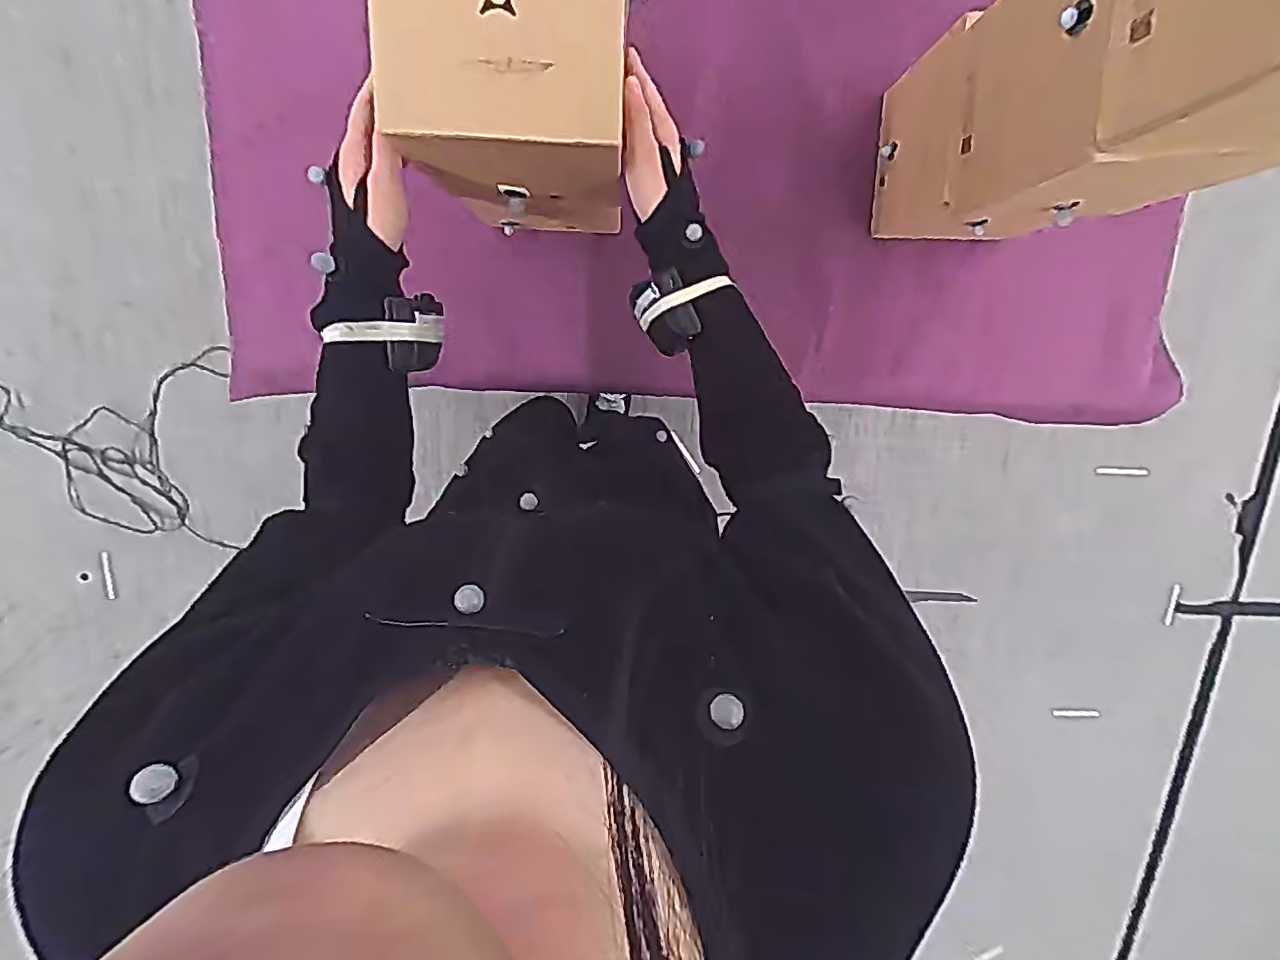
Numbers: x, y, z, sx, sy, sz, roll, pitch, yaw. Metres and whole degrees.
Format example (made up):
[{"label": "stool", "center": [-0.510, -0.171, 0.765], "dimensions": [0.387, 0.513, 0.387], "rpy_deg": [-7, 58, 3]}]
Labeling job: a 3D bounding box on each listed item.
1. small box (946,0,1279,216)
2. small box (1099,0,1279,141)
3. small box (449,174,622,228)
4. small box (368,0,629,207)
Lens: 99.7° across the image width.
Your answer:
[{"label": "small box", "center": [0.392, -0.328, 0.445], "dimensions": [0.179, 0.176, 0.168], "rpy_deg": [-3, 102, -2]}, {"label": "small box", "center": [0.399, -0.300, 0.284], "dimensions": [0.179, 0.176, 0.168], "rpy_deg": [-3, 103, -2]}, {"label": "small box", "center": [-0.101, -0.381, 0.576], "dimensions": [0.168, 0.176, 0.179], "rpy_deg": [1, 102, -3]}, {"label": "small box", "center": [-0.093, -0.334, 0.420], "dimensions": [0.168, 0.176, 0.179], "rpy_deg": [2, 103, -3]}]
